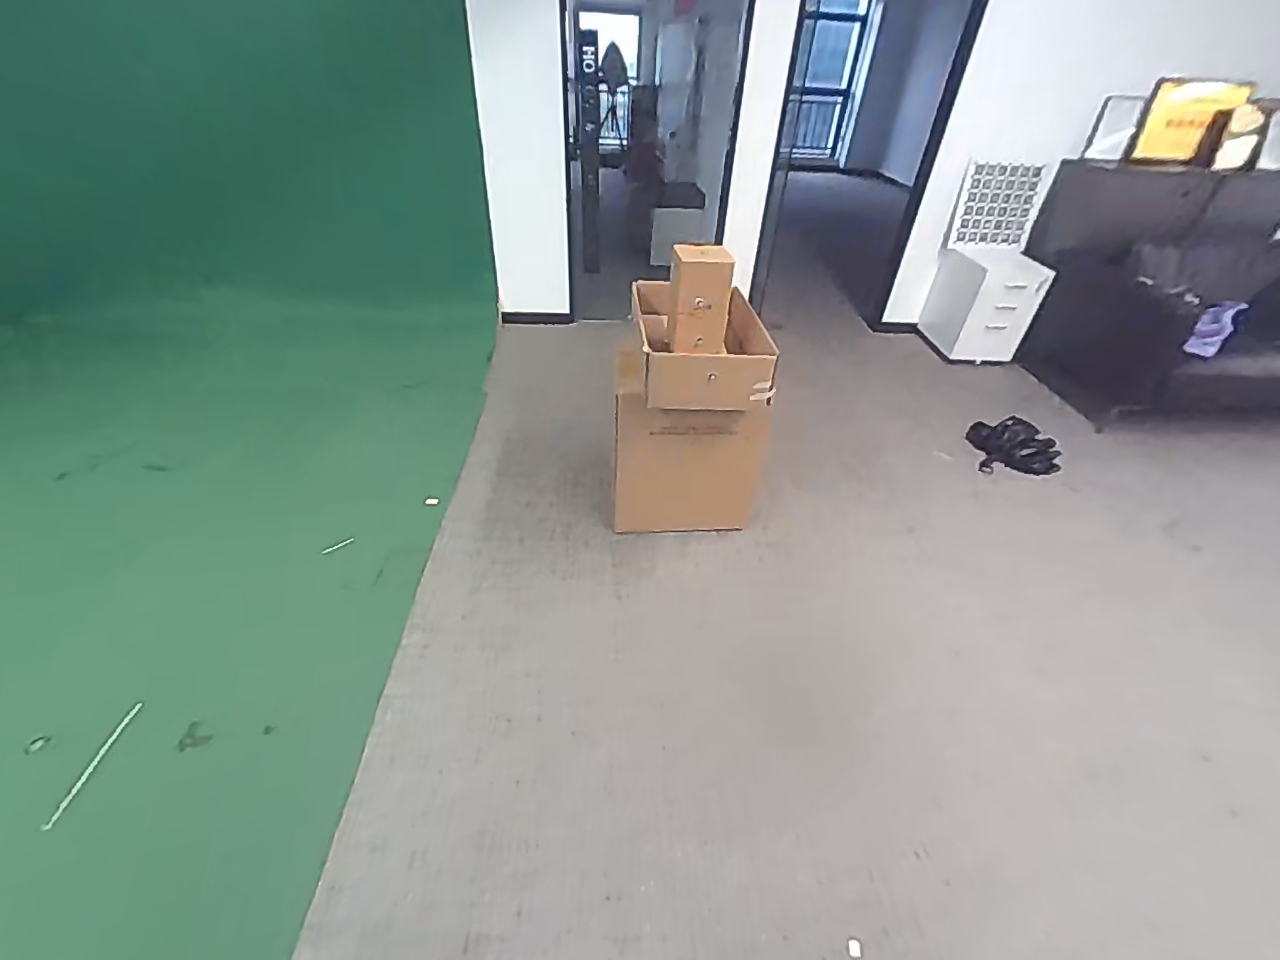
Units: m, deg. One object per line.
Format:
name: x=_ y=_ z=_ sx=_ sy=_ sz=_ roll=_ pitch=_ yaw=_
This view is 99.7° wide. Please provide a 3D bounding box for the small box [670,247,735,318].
small box: x=0.192 y=-0.634 z=1.731 sx=0.168 sy=0.176 sz=0.179 roll=-2 pitch=39 yaw=-7
